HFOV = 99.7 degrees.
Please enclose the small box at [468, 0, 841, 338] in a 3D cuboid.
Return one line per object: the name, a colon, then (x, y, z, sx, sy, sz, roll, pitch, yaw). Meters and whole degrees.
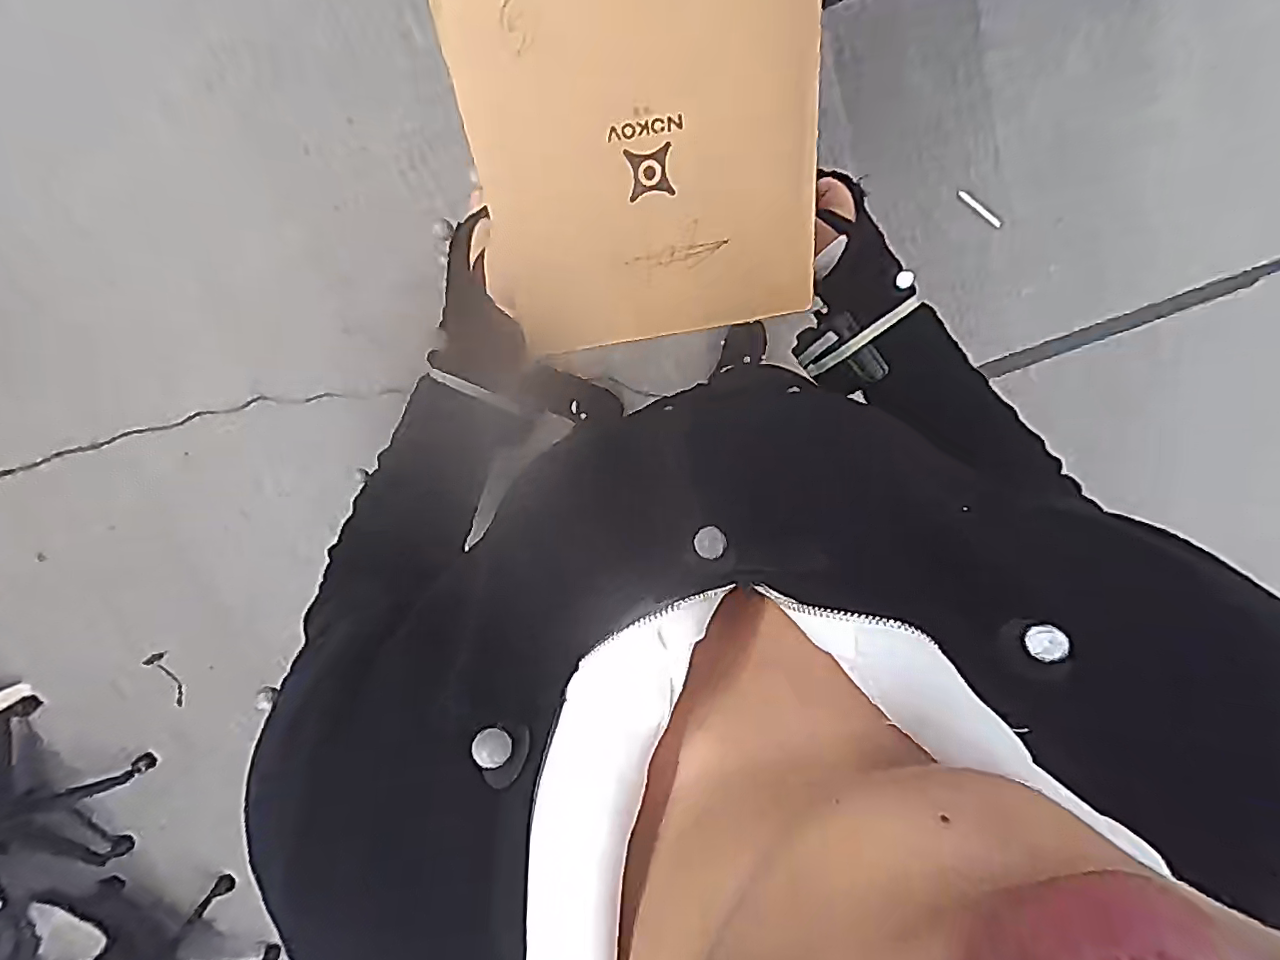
small box: (0.009, -0.210, 0.334, 0.168, 0.176, 0.179, -8, 126, 2)
